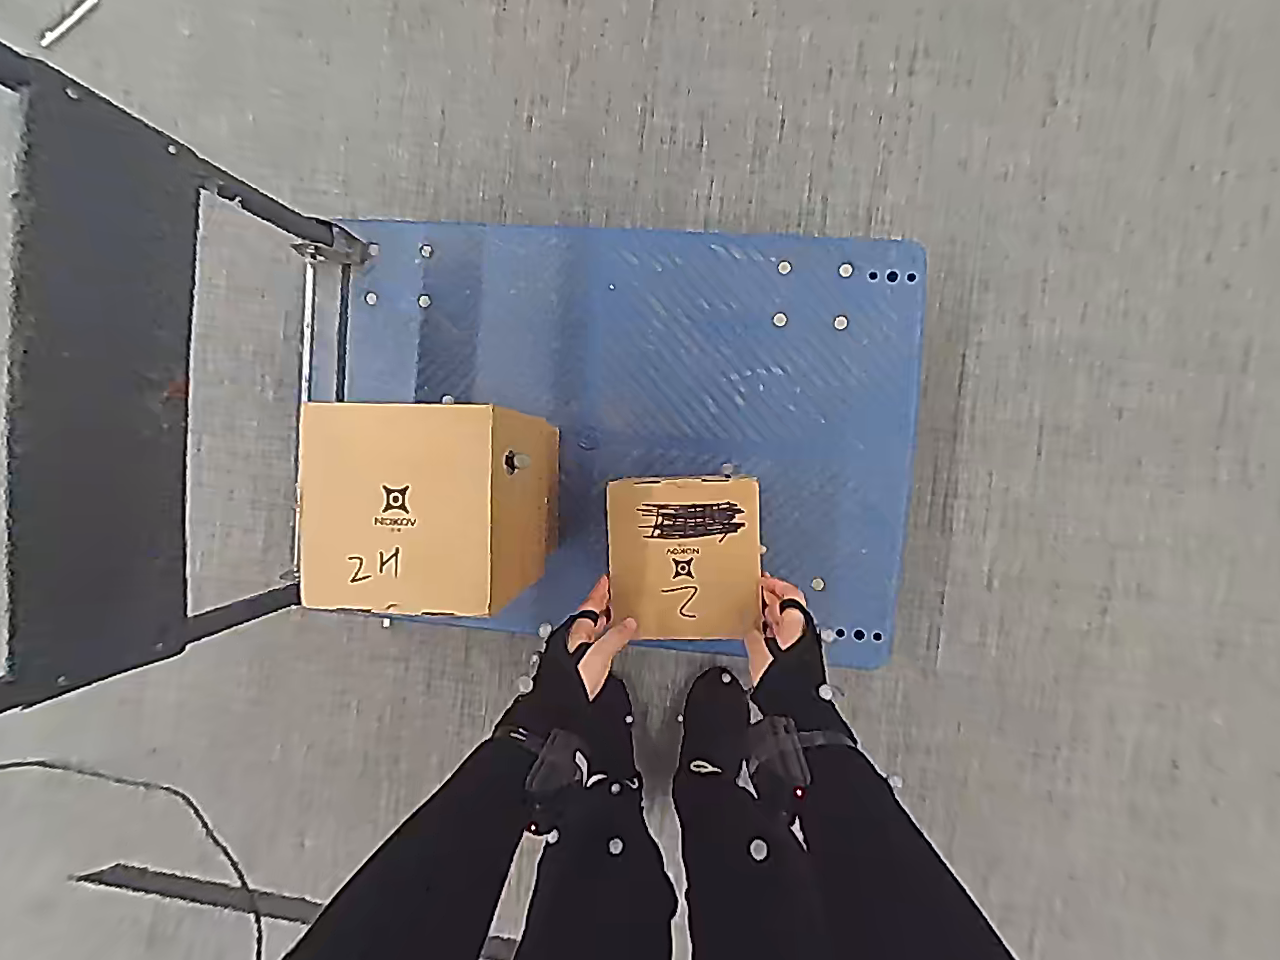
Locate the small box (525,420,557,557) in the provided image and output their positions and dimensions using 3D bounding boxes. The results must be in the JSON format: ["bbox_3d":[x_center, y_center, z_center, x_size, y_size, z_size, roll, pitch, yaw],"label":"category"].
[{"bbox_3d":[-0.206,0.015,0.690,0.168,0.176,0.179,1,92,5],"label":"small box"}]

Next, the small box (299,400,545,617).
[{"bbox_3d":[-0.194,0.021,0.523,0.168,0.176,0.179,2,92,5],"label":"small box"}]
